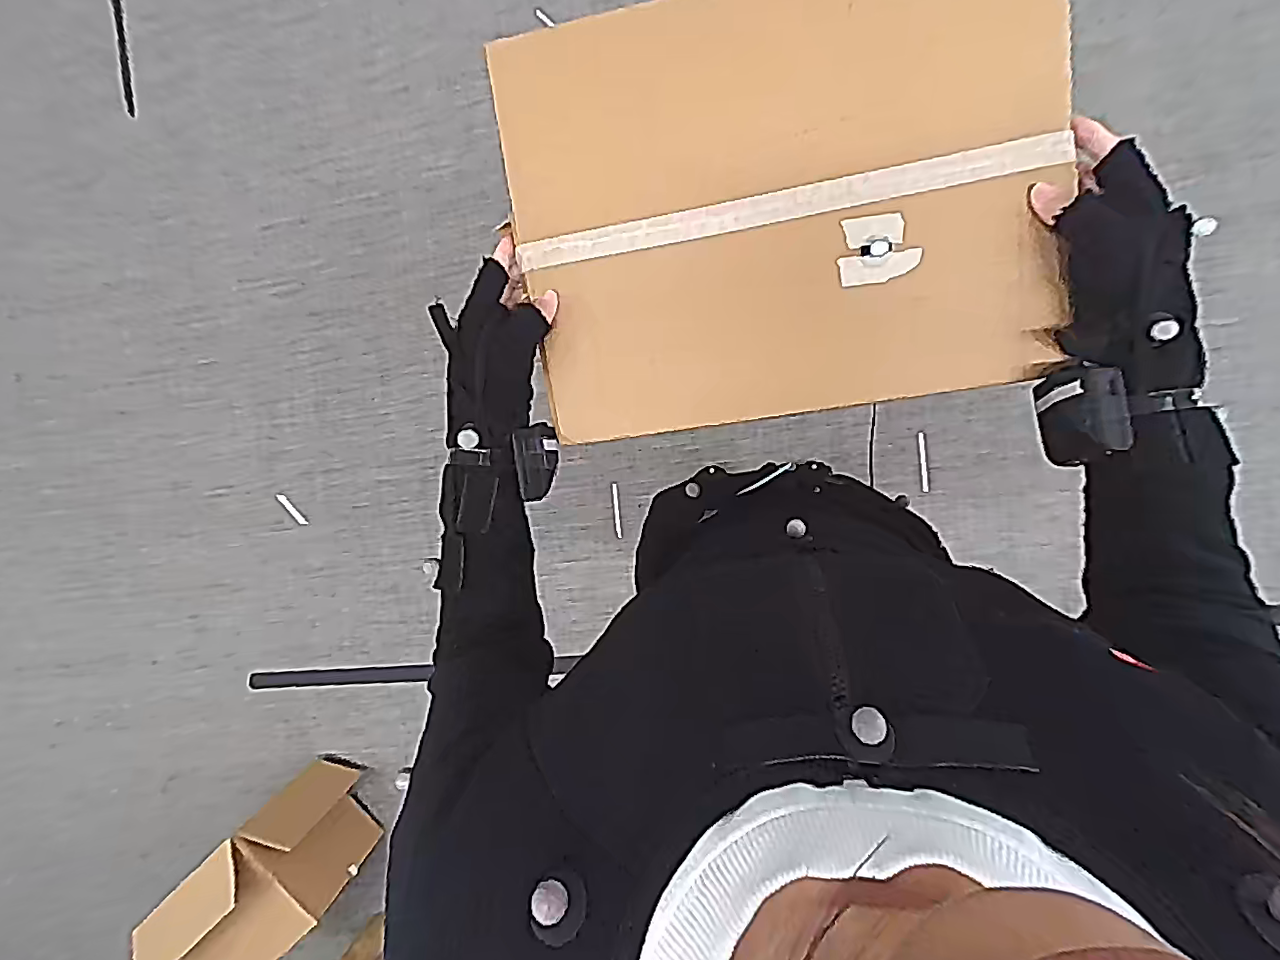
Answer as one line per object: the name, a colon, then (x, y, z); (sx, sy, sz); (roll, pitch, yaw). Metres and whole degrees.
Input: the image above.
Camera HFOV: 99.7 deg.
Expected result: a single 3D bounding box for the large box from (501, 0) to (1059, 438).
large box: (0.122, -0.238, 0.569); (0.408, 0.320, 0.320); (-8, 100, 8)
